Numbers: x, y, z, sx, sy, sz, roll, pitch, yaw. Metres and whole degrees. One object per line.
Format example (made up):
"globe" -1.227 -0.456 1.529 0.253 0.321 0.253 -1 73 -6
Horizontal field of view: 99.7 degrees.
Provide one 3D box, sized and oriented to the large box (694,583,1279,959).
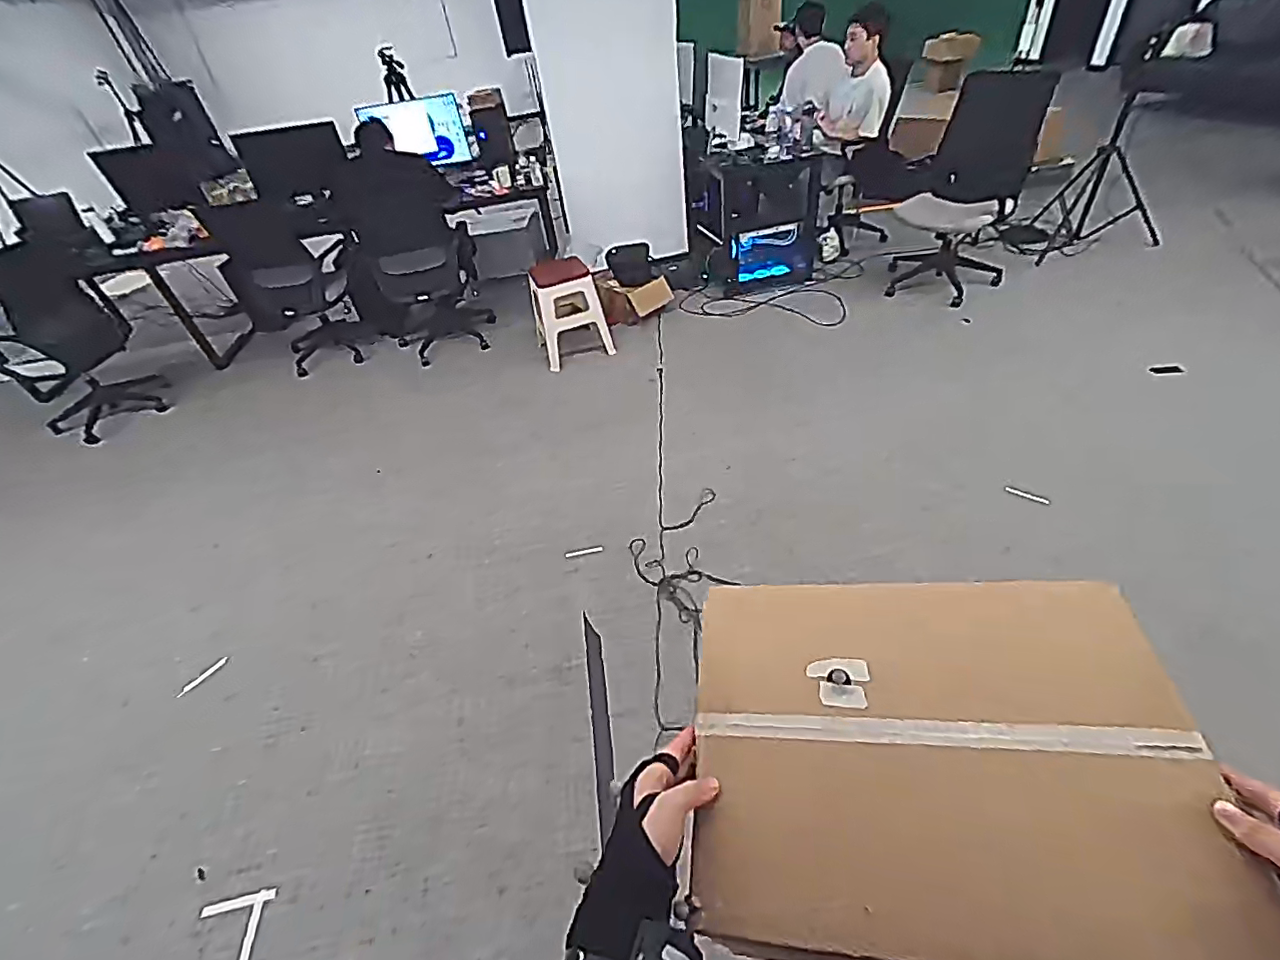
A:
"large box" 0.287 0.333 0.595 0.408 0.320 0.320 -5 45 14
